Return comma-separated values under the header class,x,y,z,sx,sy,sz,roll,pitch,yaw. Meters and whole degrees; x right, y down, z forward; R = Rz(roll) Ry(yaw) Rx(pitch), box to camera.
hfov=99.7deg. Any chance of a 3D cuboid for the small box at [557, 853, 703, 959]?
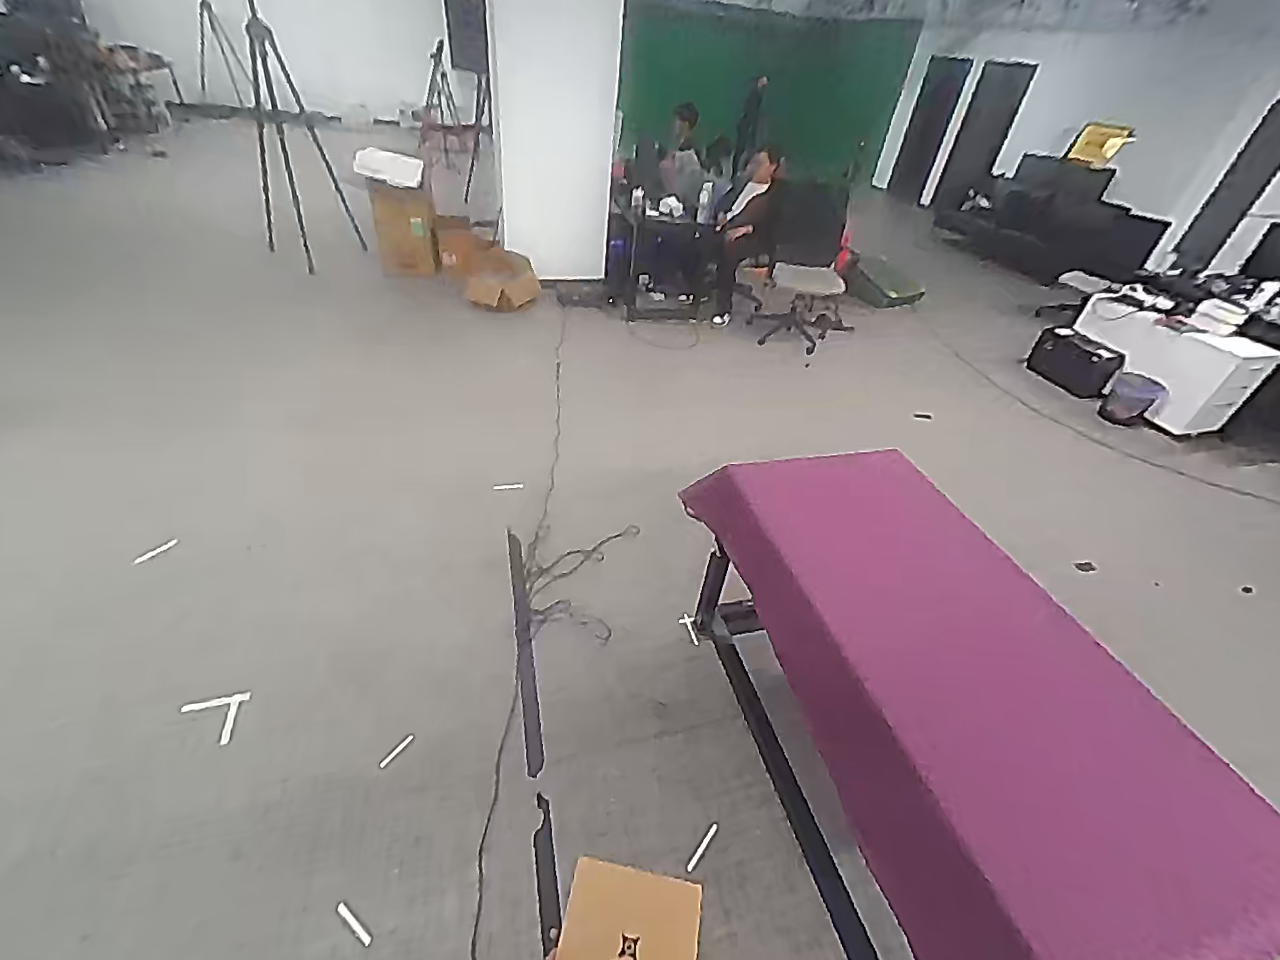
class,x,y,z,sx,sy,sz,roll,pitch,yaw
small box,-0.021,0.621,0.690,0.168,0.176,0.179,10,40,5
